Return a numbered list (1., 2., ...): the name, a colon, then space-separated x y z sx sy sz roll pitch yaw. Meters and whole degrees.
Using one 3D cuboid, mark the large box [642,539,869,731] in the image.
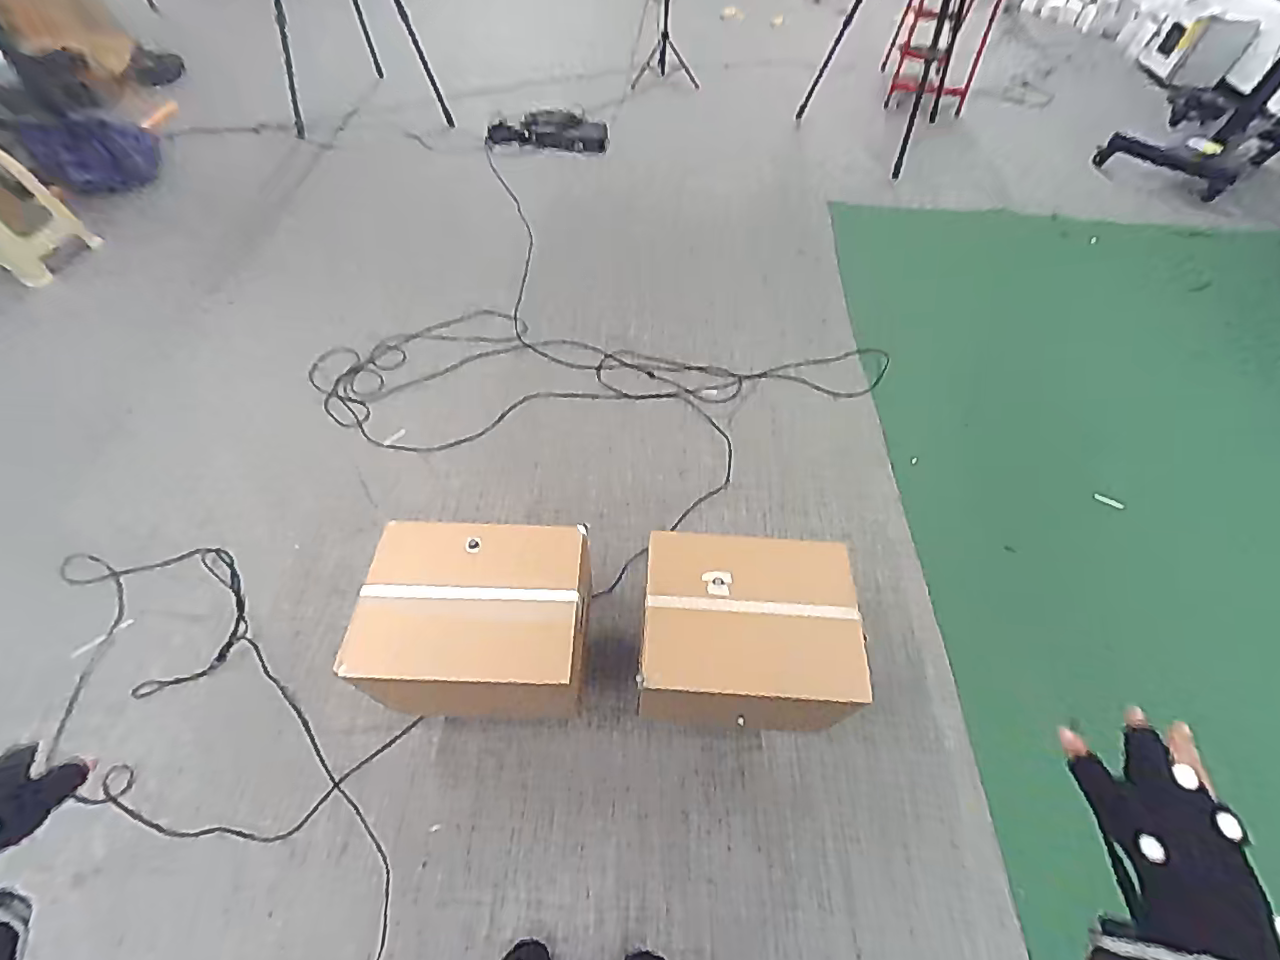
1. large box: 0.215 0.341 1.159 0.408 0.320 0.320 4 55 1
